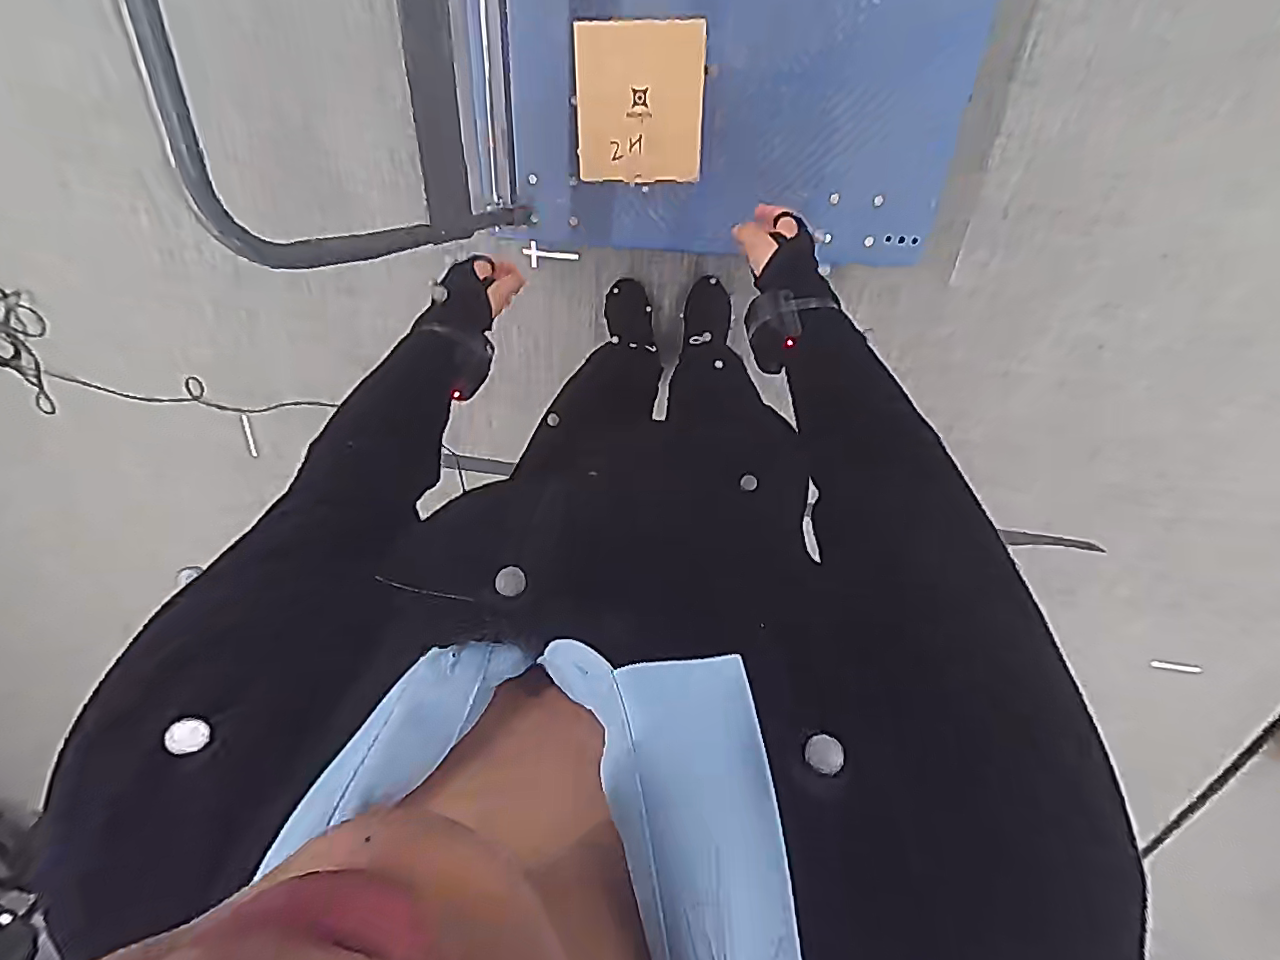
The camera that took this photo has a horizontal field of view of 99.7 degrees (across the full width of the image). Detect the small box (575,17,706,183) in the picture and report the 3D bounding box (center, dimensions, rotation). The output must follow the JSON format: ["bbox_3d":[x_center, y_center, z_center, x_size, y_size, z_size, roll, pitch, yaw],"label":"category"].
[{"bbox_3d":[0.005,-0.526,0.771,0.168,0.176,0.179,3,120,5],"label":"small box"}]
